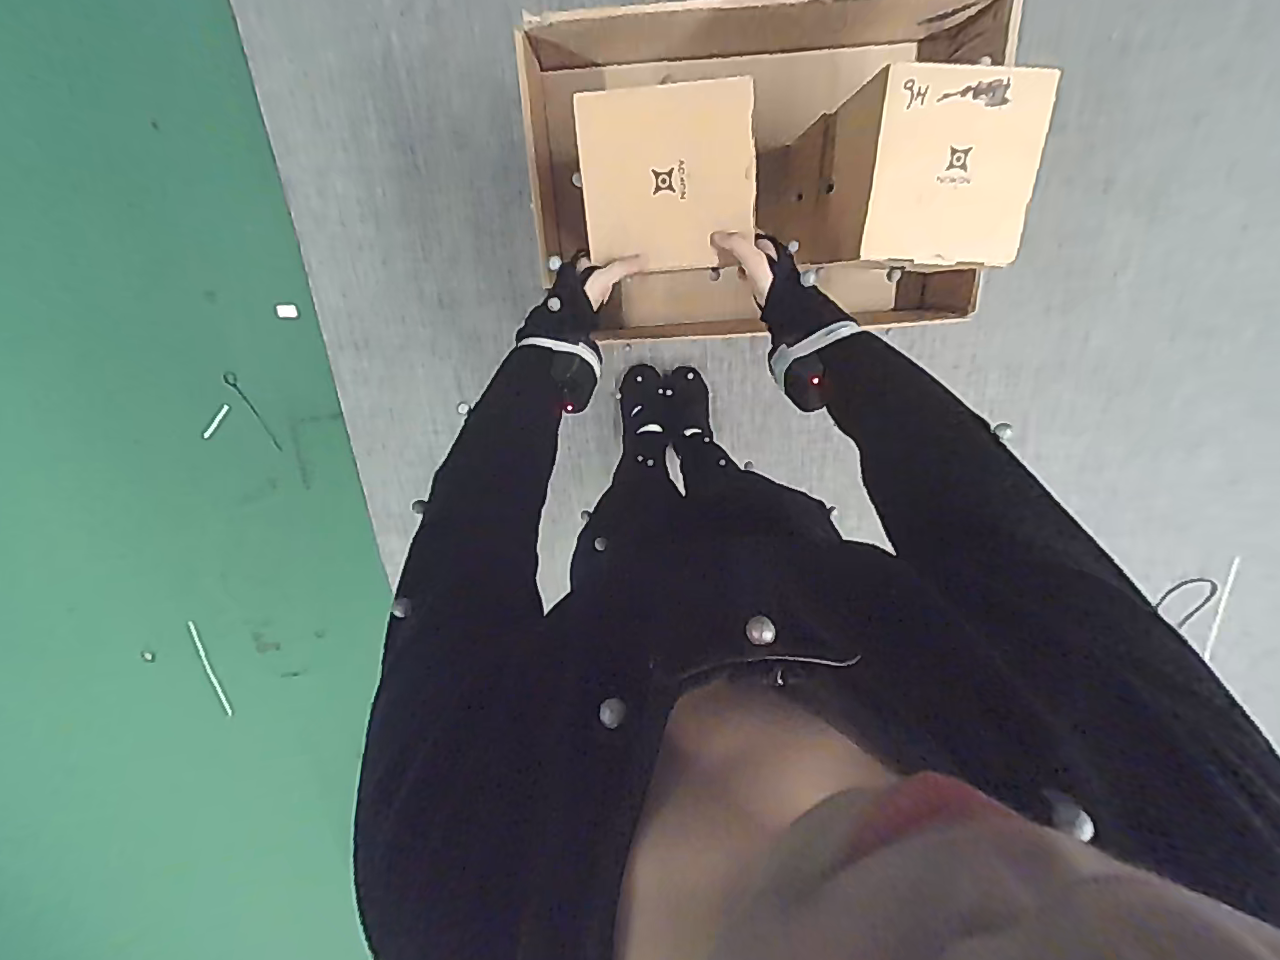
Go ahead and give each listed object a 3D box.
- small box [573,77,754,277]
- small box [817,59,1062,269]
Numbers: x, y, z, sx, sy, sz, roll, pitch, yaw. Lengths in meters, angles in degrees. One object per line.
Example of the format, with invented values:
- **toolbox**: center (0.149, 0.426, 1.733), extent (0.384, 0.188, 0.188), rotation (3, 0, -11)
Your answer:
- **small box**: center (0.029, -0.328, 0.619), extent (0.179, 0.176, 0.168), rotation (-5, 110, 2)
- **small box**: center (0.311, -0.338, 0.610), extent (0.168, 0.176, 0.179), rotation (3, 111, 0)
